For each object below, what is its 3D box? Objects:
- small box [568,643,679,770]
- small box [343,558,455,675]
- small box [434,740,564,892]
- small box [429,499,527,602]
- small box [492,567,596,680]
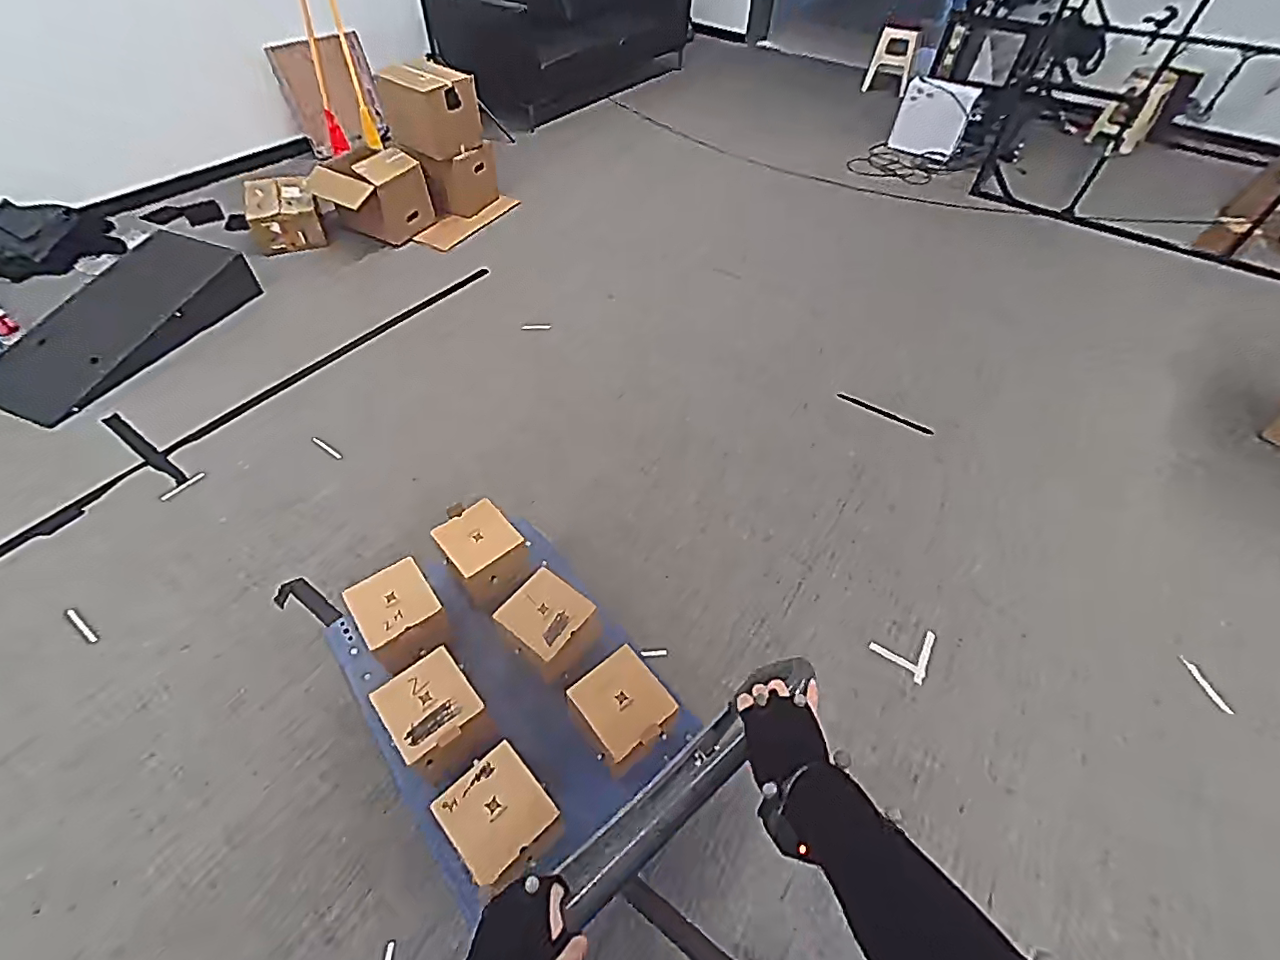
[{"bbox_3d":[-0.038,0.496,1.170,0.168,0.176,0.179,-32,59,-27],"label":"small box"},{"bbox_3d":[-0.560,0.323,1.272,0.168,0.176,0.179,-31,60,-26],"label":"small box"},{"bbox_3d":[-0.259,0.641,1.032,0.168,0.176,0.179,-35,61,-29],"label":"small box"},{"bbox_3d":[-0.409,0.190,1.394,0.168,0.176,0.179,-36,61,-28],"label":"small box"},{"bbox_3d":[-0.218,0.346,1.278,0.179,0.176,0.168,31,55,21],"label":"small box"}]
